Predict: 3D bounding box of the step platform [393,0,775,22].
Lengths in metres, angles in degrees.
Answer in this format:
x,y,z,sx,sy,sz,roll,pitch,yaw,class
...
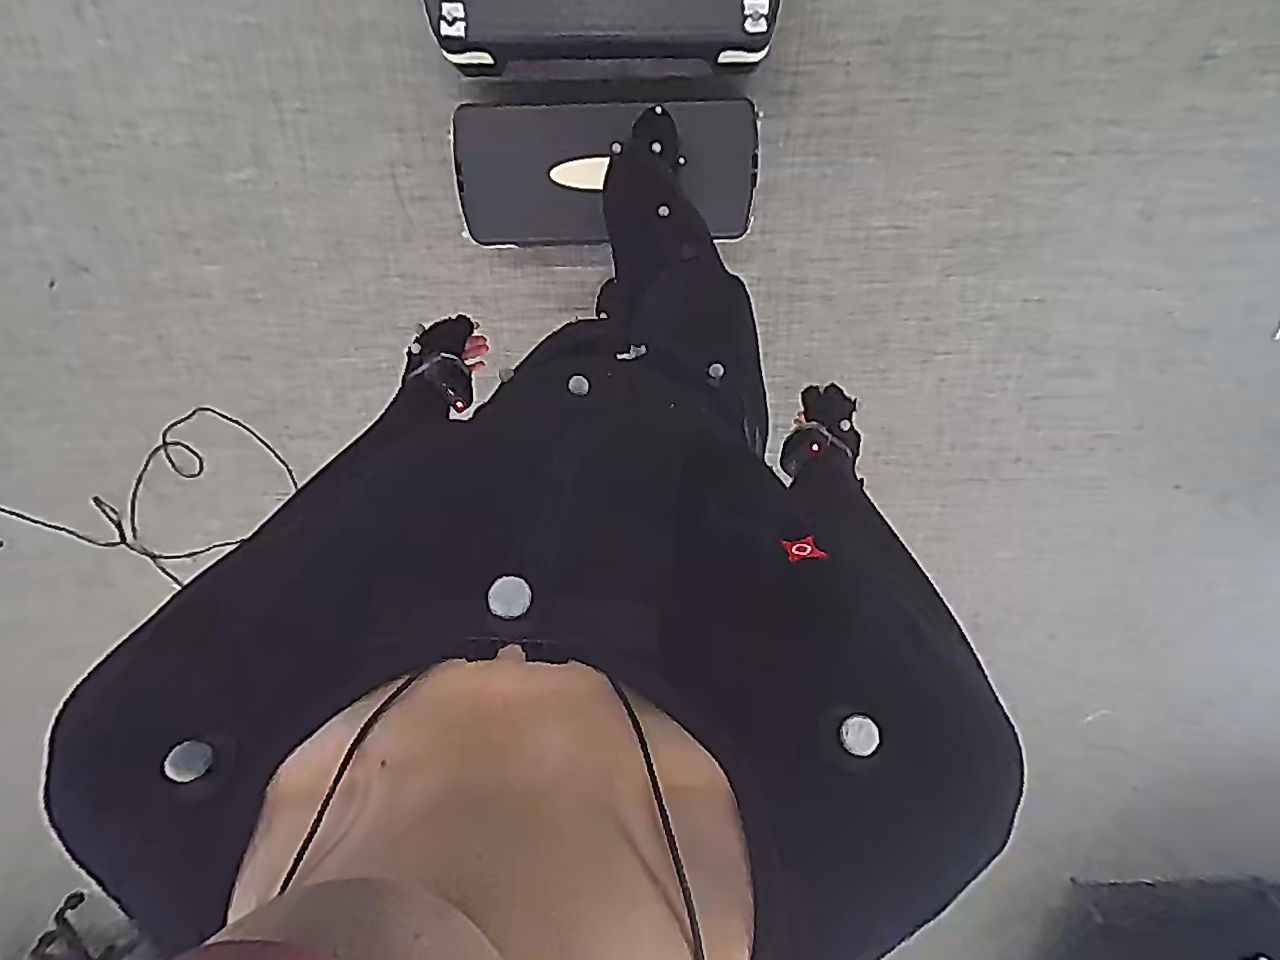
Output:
x,y,z,sx,sy,sz,roll,pitch,yaw,class
-0.088,-0.913,0.834,0.684,0.204,0.286,-1,114,0,step platform
